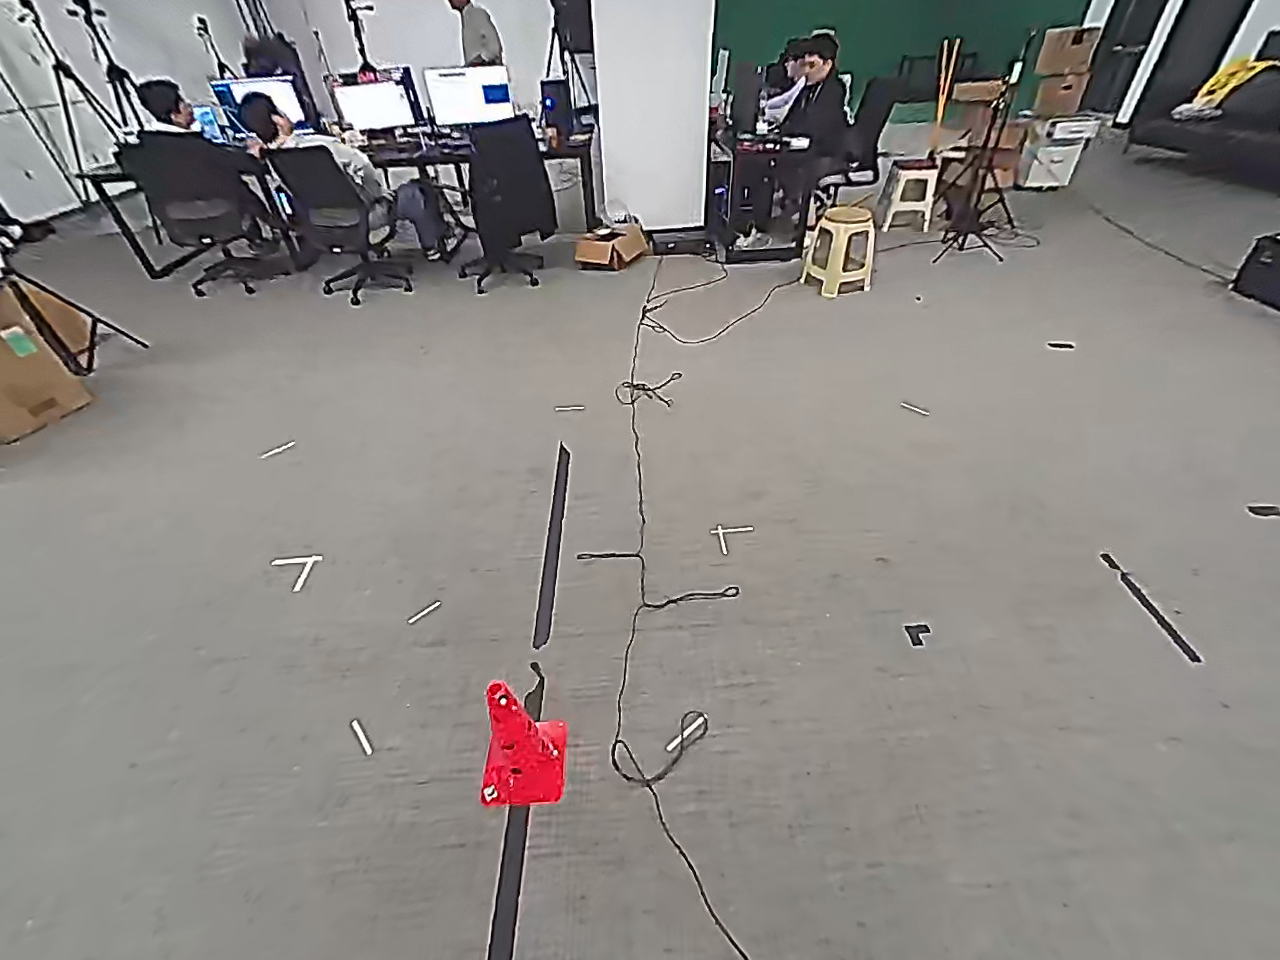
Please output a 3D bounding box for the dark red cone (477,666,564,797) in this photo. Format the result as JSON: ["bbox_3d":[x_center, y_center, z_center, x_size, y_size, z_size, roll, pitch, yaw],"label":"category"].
[{"bbox_3d":[-0.294,0.553,1.237,0.201,0.394,0.202,-2,40,-1],"label":"dark red cone"}]
